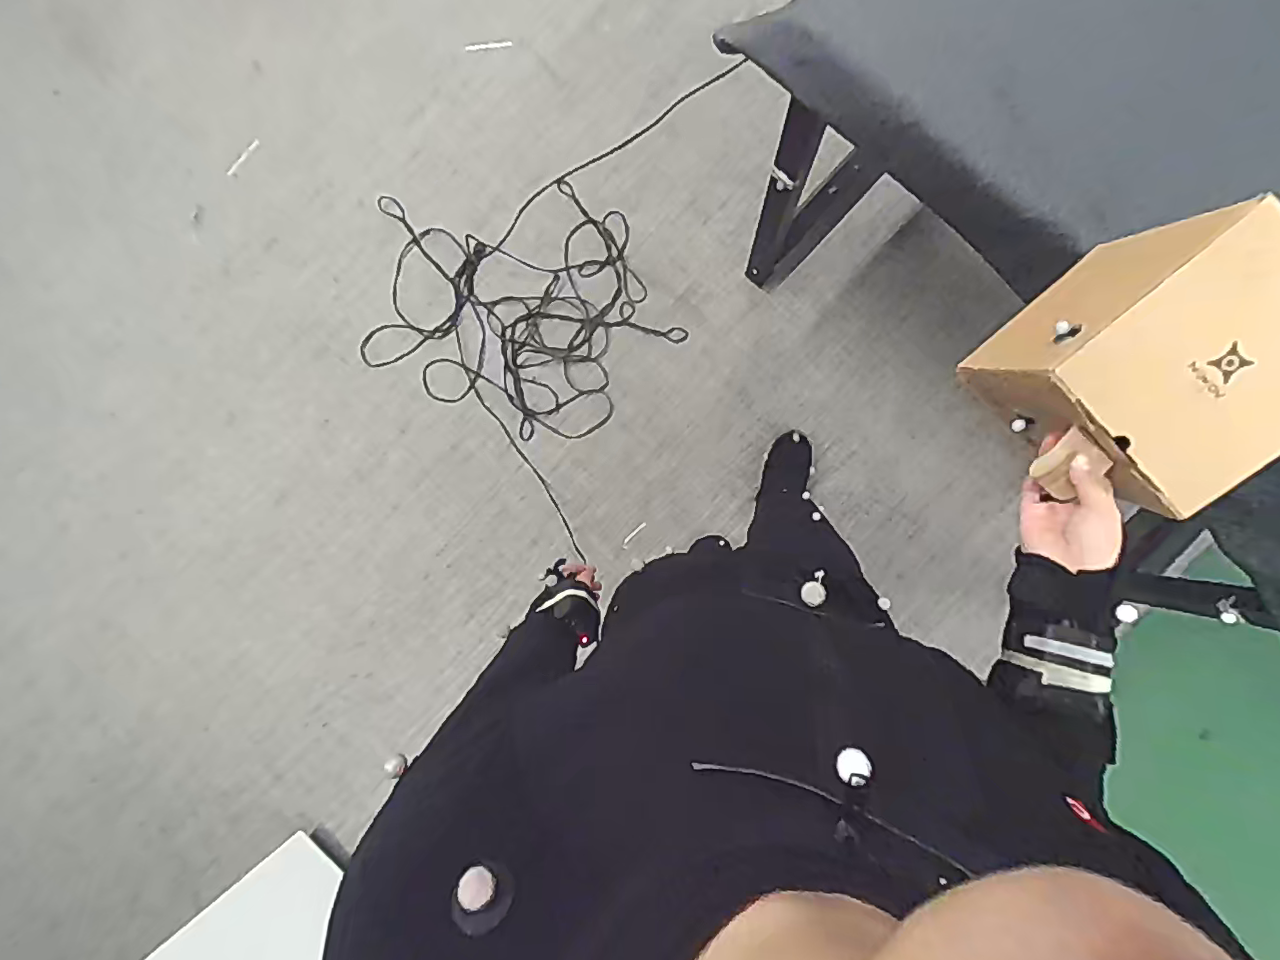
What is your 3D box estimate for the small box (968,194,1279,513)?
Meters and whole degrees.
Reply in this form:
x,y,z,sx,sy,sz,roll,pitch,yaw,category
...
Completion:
x,y,z,sx,sy,sz,roll,pitch,yaw,category
0.444,-0.104,0.478,0.168,0.176,0.179,45,105,-4,small box
